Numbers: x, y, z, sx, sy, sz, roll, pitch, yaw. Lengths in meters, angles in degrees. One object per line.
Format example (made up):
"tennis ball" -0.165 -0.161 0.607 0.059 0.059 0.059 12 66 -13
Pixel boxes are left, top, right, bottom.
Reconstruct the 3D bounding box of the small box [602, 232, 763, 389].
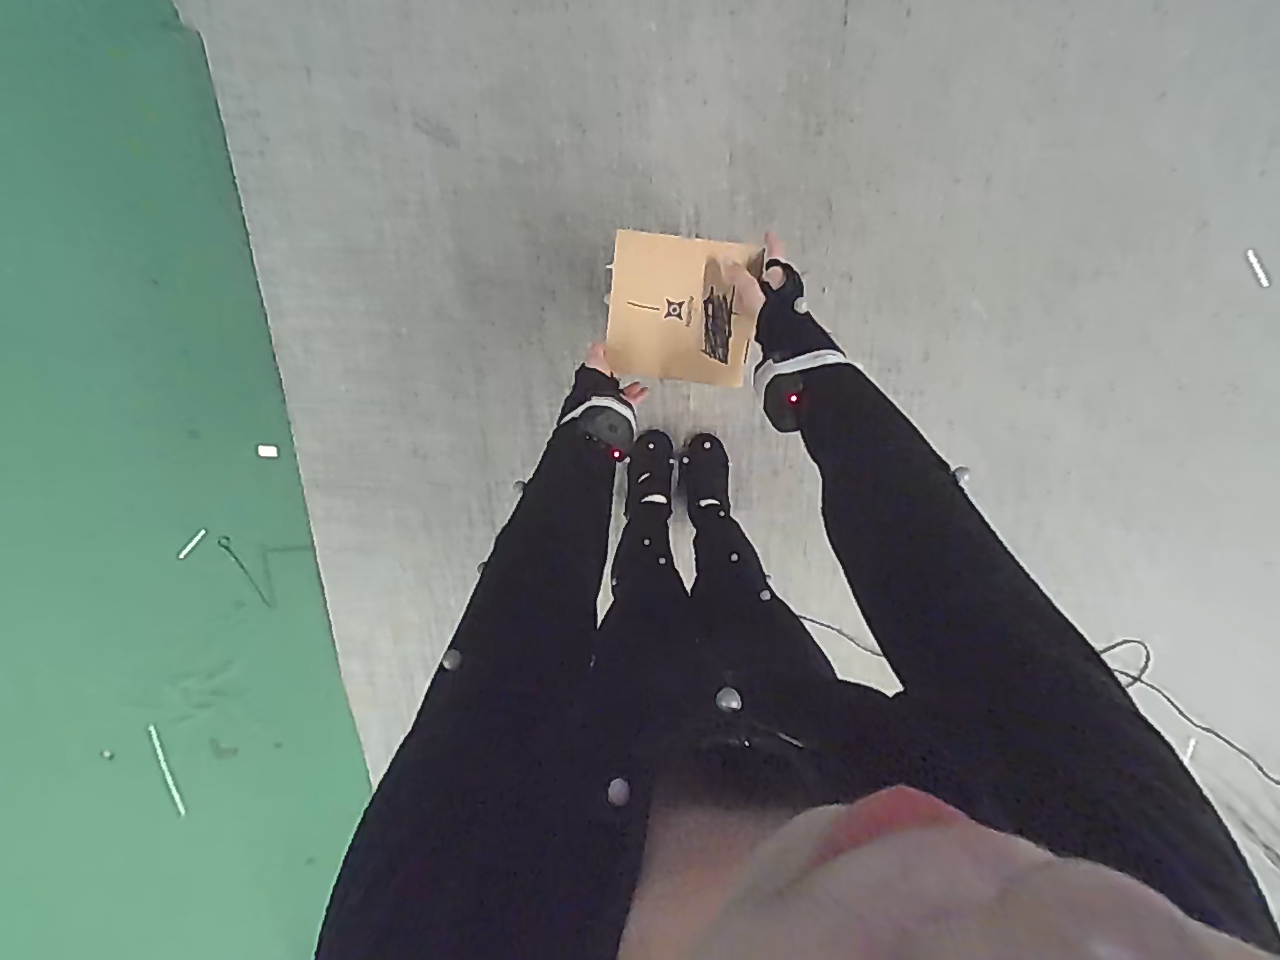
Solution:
"small box" 0.052 -0.225 0.728 0.179 0.176 0.168 8 107 1
